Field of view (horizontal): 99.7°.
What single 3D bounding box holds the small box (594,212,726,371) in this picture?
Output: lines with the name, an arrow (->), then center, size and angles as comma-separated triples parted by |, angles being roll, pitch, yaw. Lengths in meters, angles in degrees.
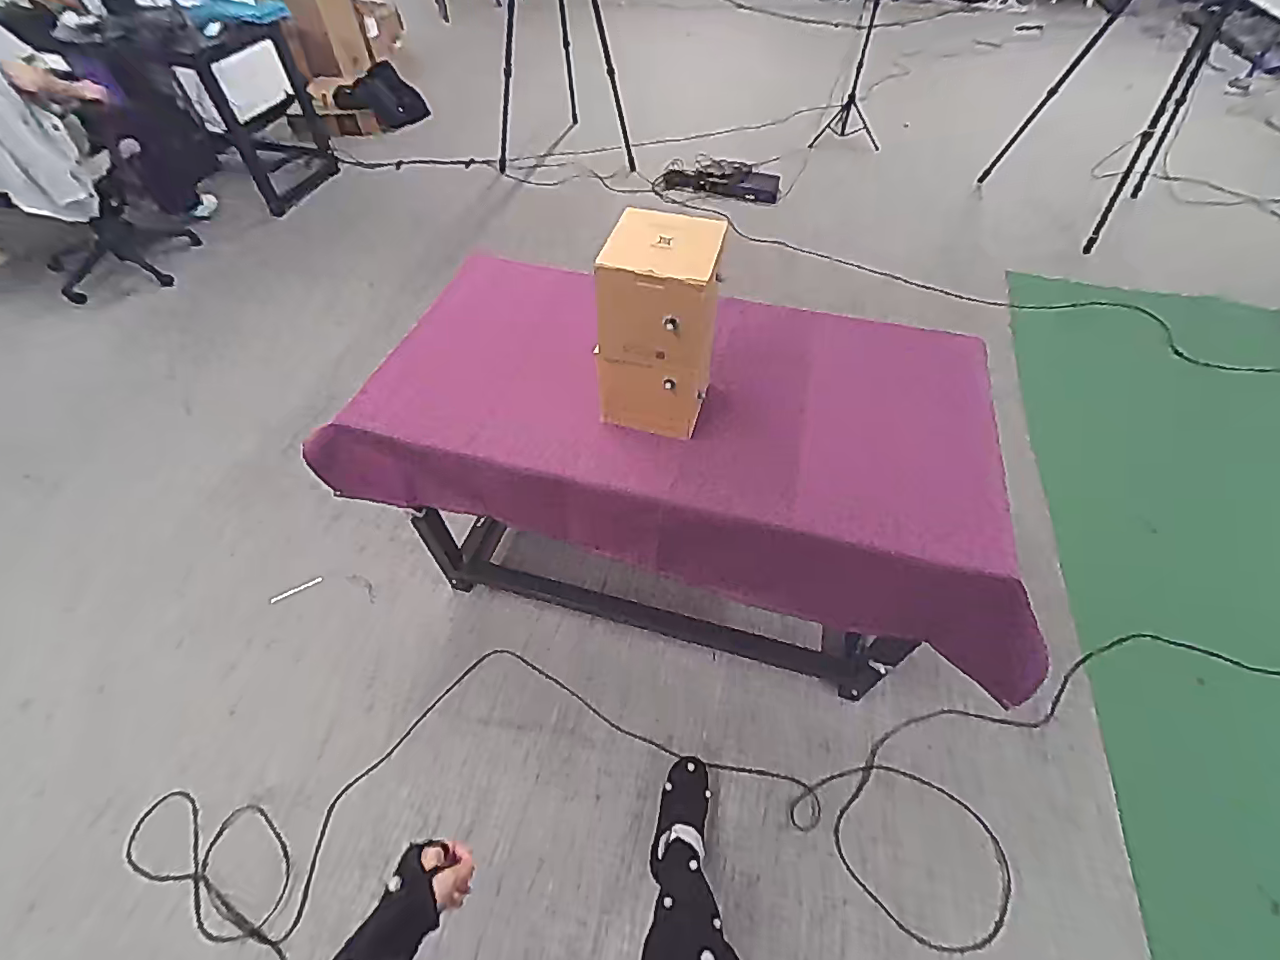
small box -> 0.034, -0.300, 0.871 | 0.168, 0.176, 0.179 | 13, 52, 8

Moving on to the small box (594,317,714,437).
small box -> 0.028, -0.202, 1.000 | 0.179, 0.176, 0.168 | 14, 53, 10
